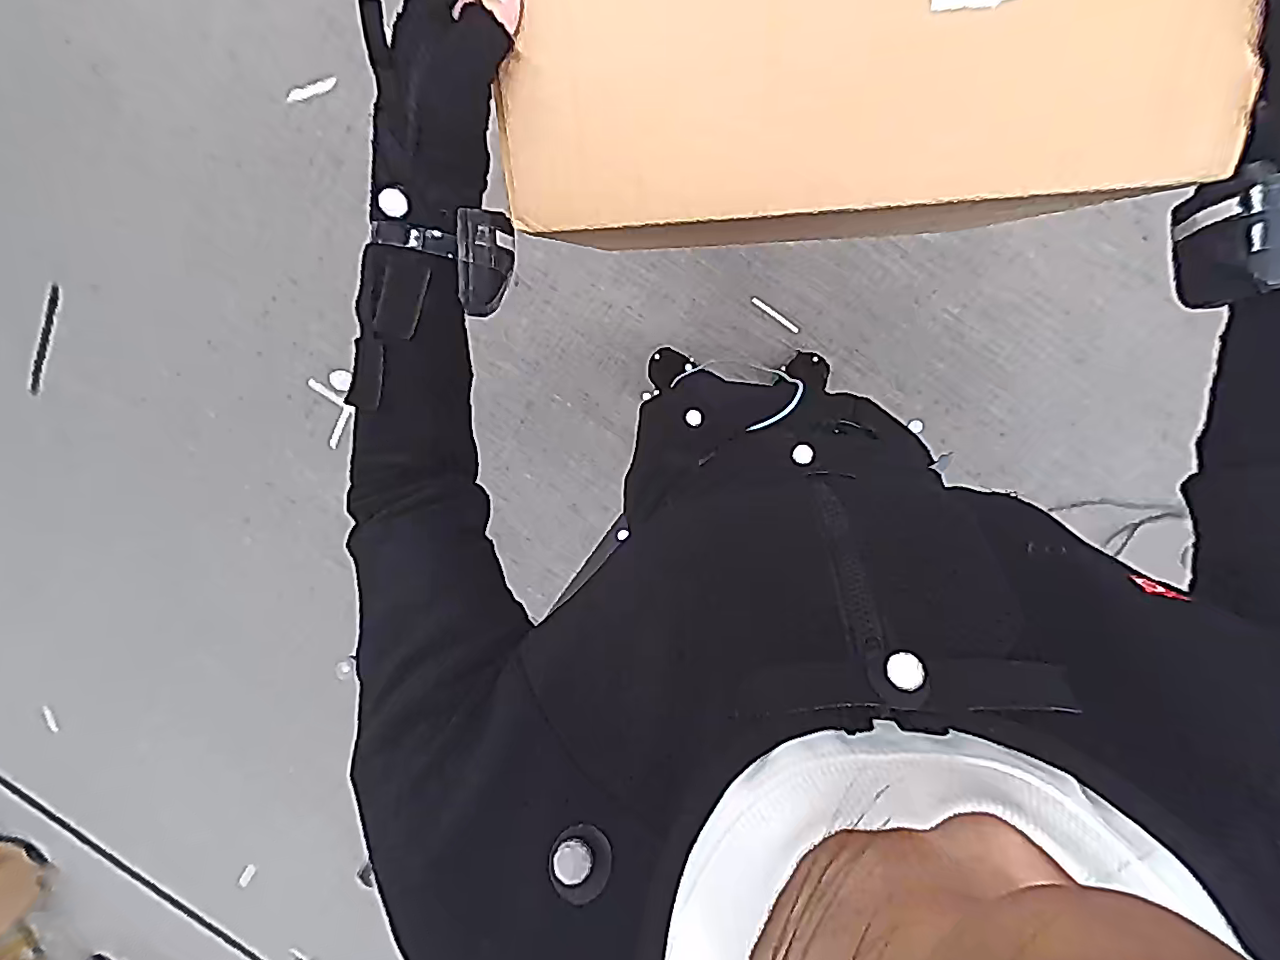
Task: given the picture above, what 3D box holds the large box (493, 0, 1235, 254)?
[{"bbox_3d":[0.123,-0.367,0.421,0.408,0.320,0.320,-2,111,8],"label":"large box"}]
